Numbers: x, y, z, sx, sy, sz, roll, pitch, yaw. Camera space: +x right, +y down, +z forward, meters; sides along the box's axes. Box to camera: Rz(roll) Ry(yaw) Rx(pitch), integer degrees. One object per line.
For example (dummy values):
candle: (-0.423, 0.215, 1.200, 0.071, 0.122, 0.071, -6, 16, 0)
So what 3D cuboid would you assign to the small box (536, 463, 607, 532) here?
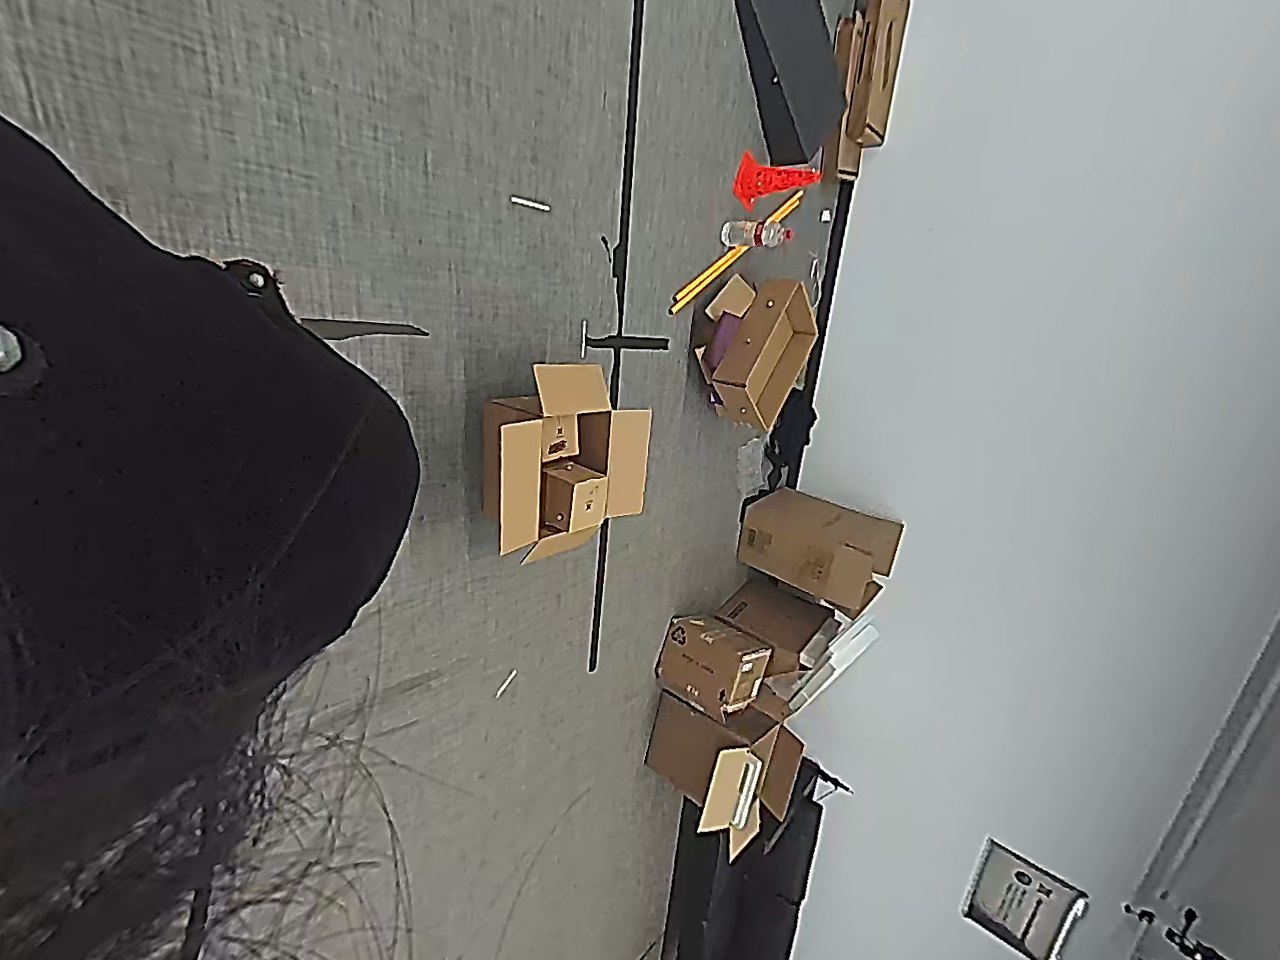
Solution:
small box: (-0.236, 0.054, 1.836, 0.168, 0.176, 0.179, -14, 117, -50)
